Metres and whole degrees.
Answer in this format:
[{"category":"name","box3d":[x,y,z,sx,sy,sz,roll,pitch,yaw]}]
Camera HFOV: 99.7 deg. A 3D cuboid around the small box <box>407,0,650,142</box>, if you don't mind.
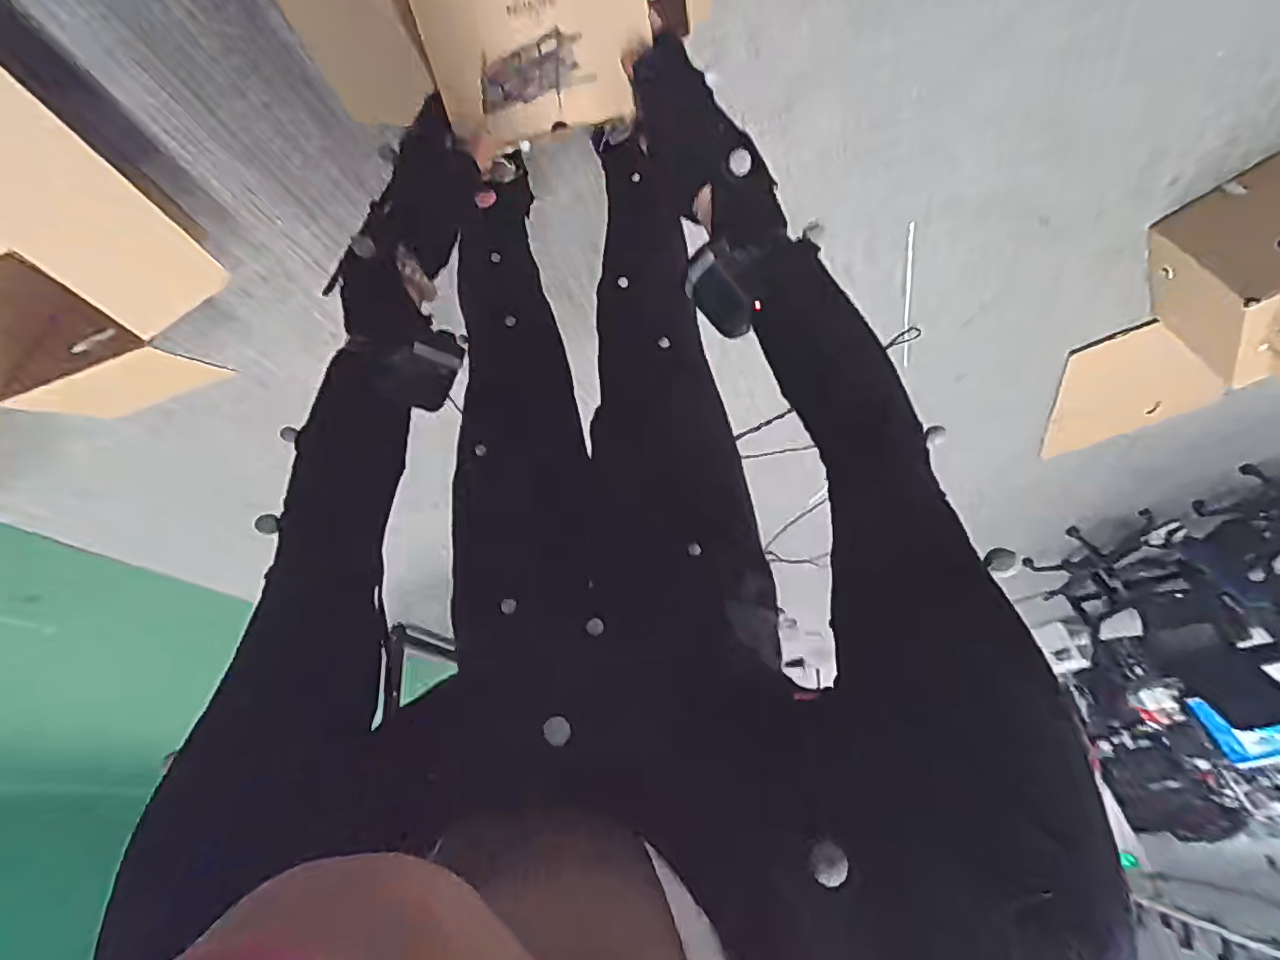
[{"category":"small box","box3d":[-0.087,-0.400,0.439,0.168,0.176,0.179,-10,126,5]}]
